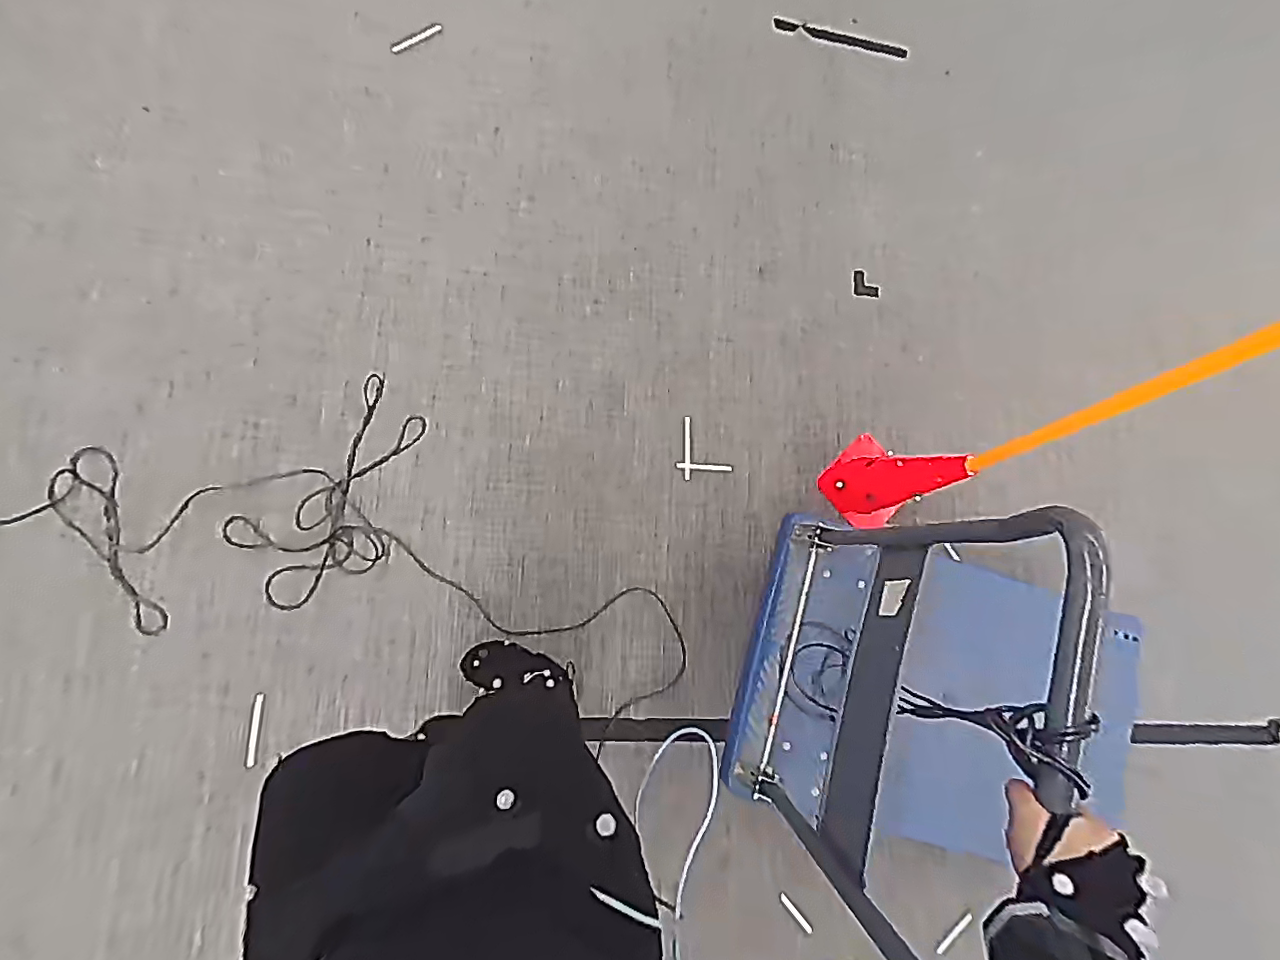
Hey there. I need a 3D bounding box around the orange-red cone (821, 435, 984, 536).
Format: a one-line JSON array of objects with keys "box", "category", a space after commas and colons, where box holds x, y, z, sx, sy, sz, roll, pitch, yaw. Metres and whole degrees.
[{"box": [0.595, -0.004, 1.175, 0.198, 0.360, 0.199, -41, 92, -11], "category": "orange-red cone"}]
